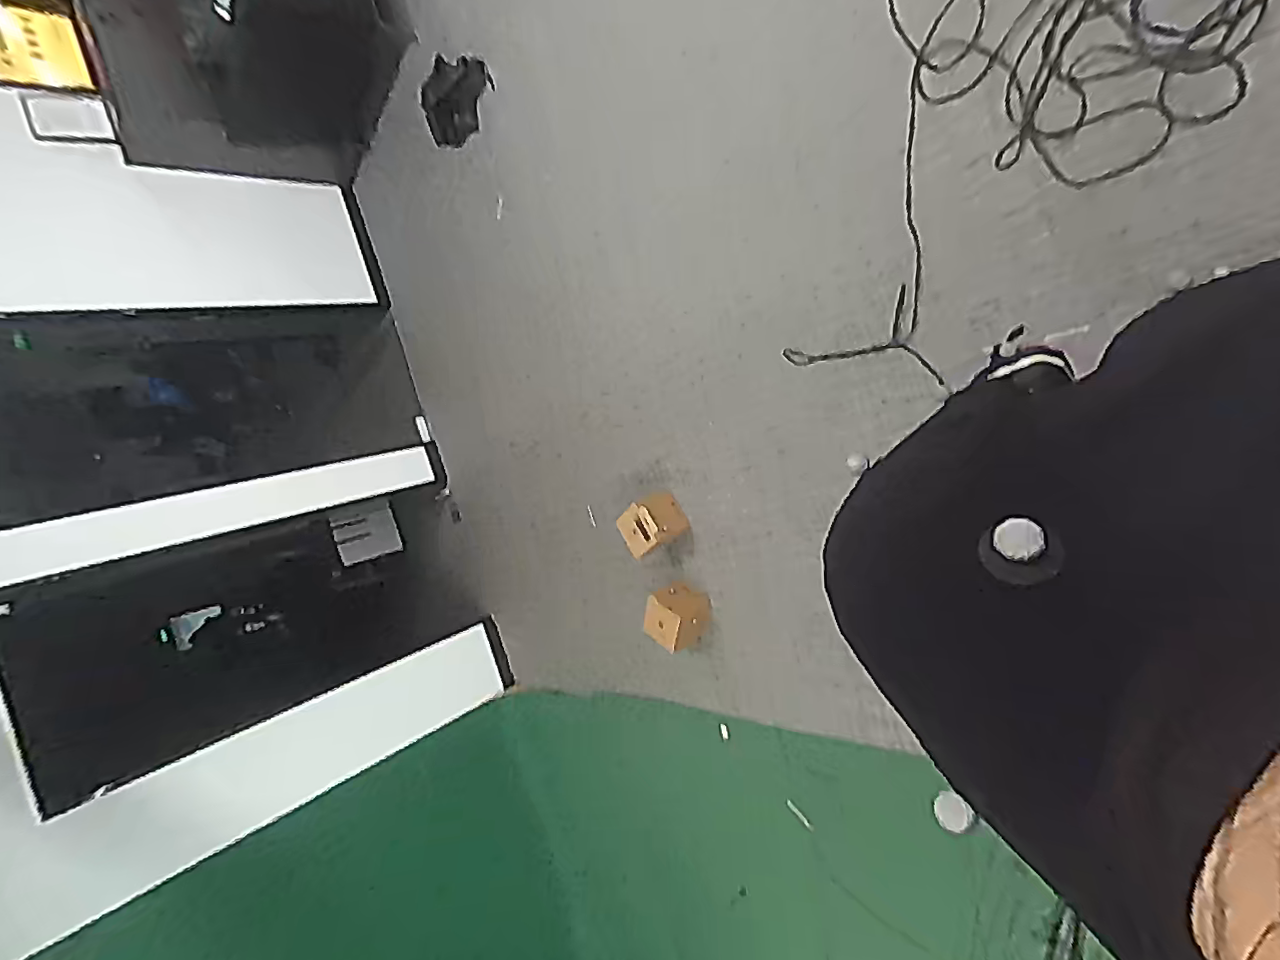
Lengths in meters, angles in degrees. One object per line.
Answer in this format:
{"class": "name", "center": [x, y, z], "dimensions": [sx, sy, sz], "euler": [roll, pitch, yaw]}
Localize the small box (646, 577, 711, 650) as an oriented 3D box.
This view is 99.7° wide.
{"class": "small box", "center": [0.146, 0.494, 2.028], "dimensions": [0.168, 0.176, 0.179], "euler": [32, 127, 39]}
